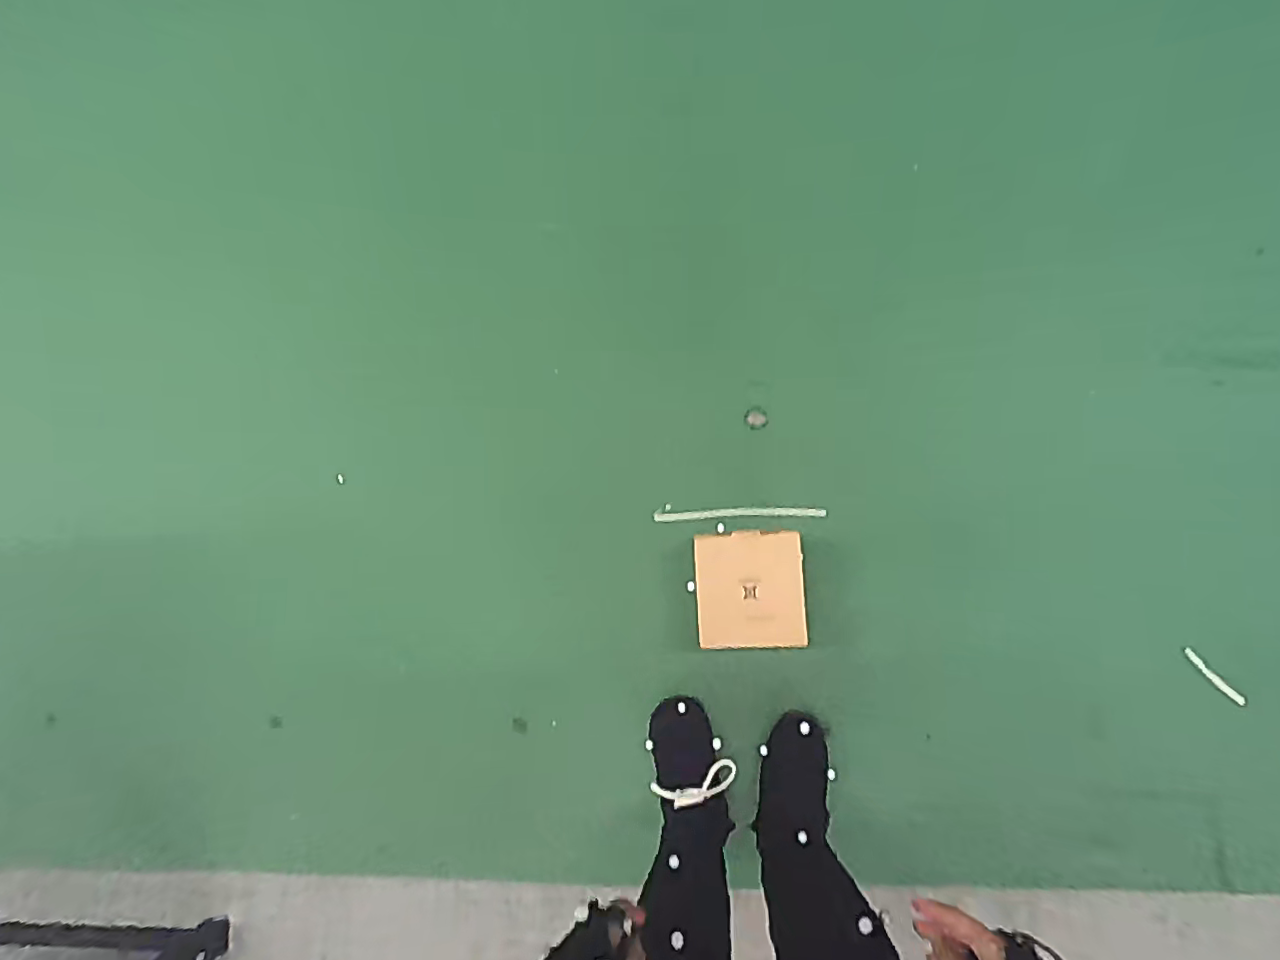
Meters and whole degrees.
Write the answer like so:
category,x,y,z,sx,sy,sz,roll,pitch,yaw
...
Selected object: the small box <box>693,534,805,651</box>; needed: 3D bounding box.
category,x,y,z,sx,sy,sz,roll,pitch,yaw
small box,0.176,0.183,0.918,0.168,0.176,0.179,-3,85,6
